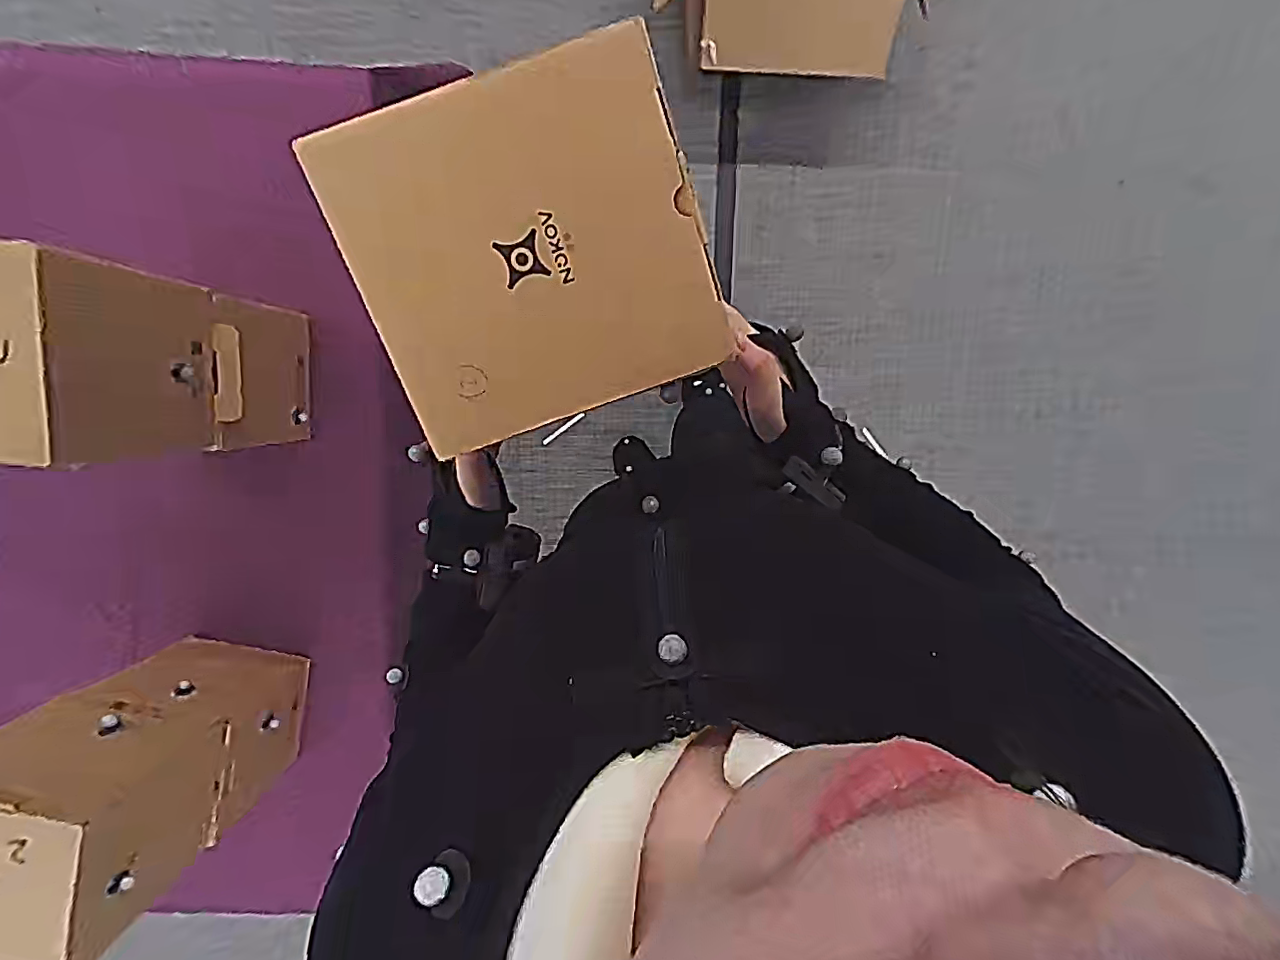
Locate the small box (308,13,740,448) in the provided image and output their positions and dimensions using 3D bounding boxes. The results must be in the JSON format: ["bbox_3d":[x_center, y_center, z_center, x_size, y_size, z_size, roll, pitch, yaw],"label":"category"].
[{"bbox_3d":[-0.056,-0.135,0.349,0.179,0.176,0.168,-19,105,0],"label":"small box"}]

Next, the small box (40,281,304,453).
[{"bbox_3d":[-0.528,-0.128,0.640,0.179,0.176,0.168,4,98,-1],"label":"small box"}]

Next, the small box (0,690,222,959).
[{"bbox_3d":[-0.570,0.347,0.547,0.168,0.176,0.179,13,97,-4],"label":"small box"}]

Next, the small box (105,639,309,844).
[{"bbox_3d":[-0.573,0.329,0.710,0.179,0.176,0.168,12,97,-3],"label":"small box"}]
